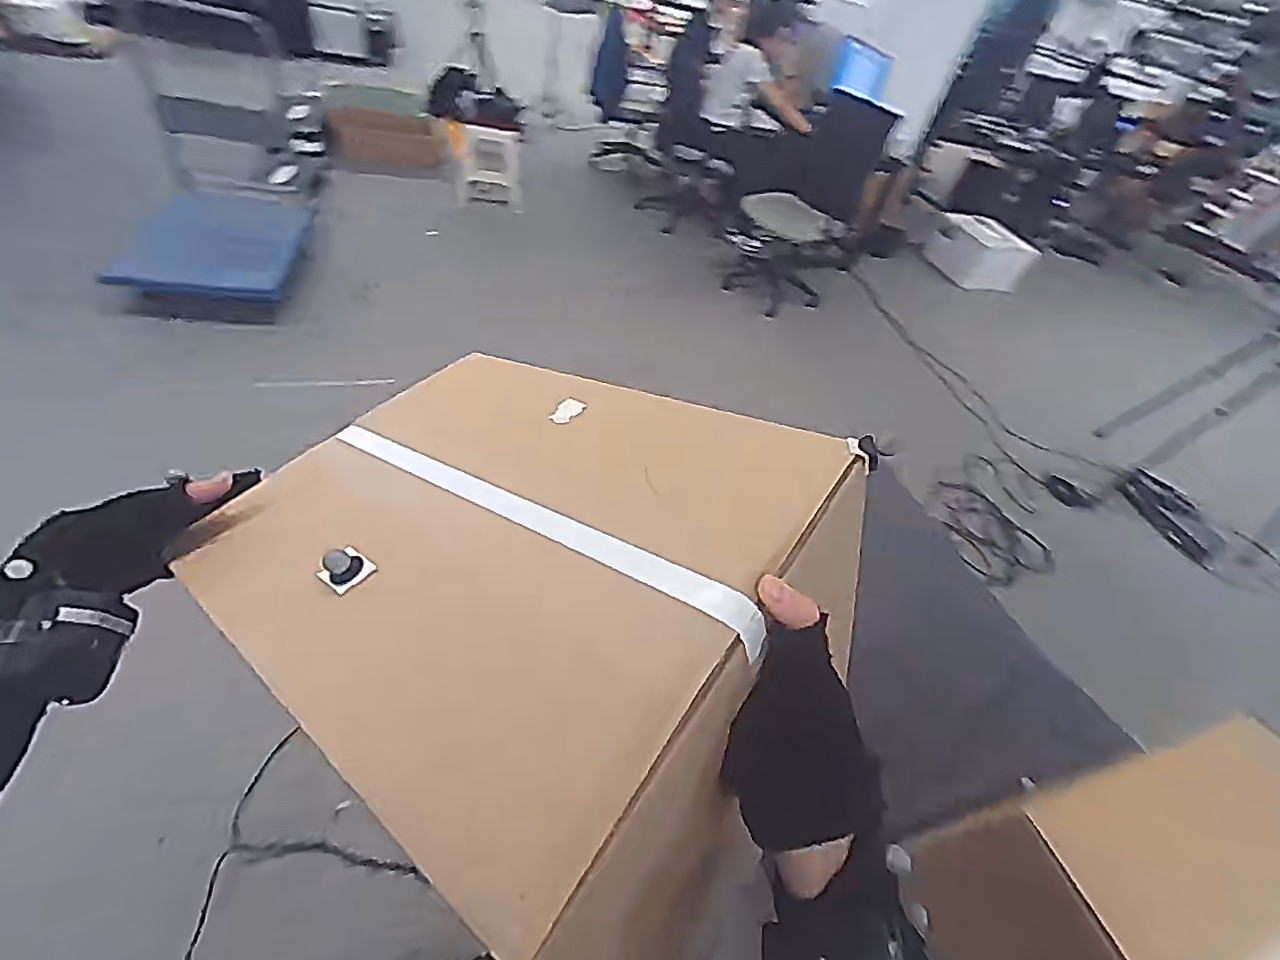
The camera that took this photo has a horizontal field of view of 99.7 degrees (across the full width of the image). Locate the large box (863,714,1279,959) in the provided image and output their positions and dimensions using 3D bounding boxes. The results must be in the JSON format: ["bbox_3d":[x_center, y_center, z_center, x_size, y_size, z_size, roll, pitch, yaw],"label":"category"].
[{"bbox_3d":[0.543,0.505,0.581,0.408,0.320,0.320,-3,48,-22],"label":"large box"}]
